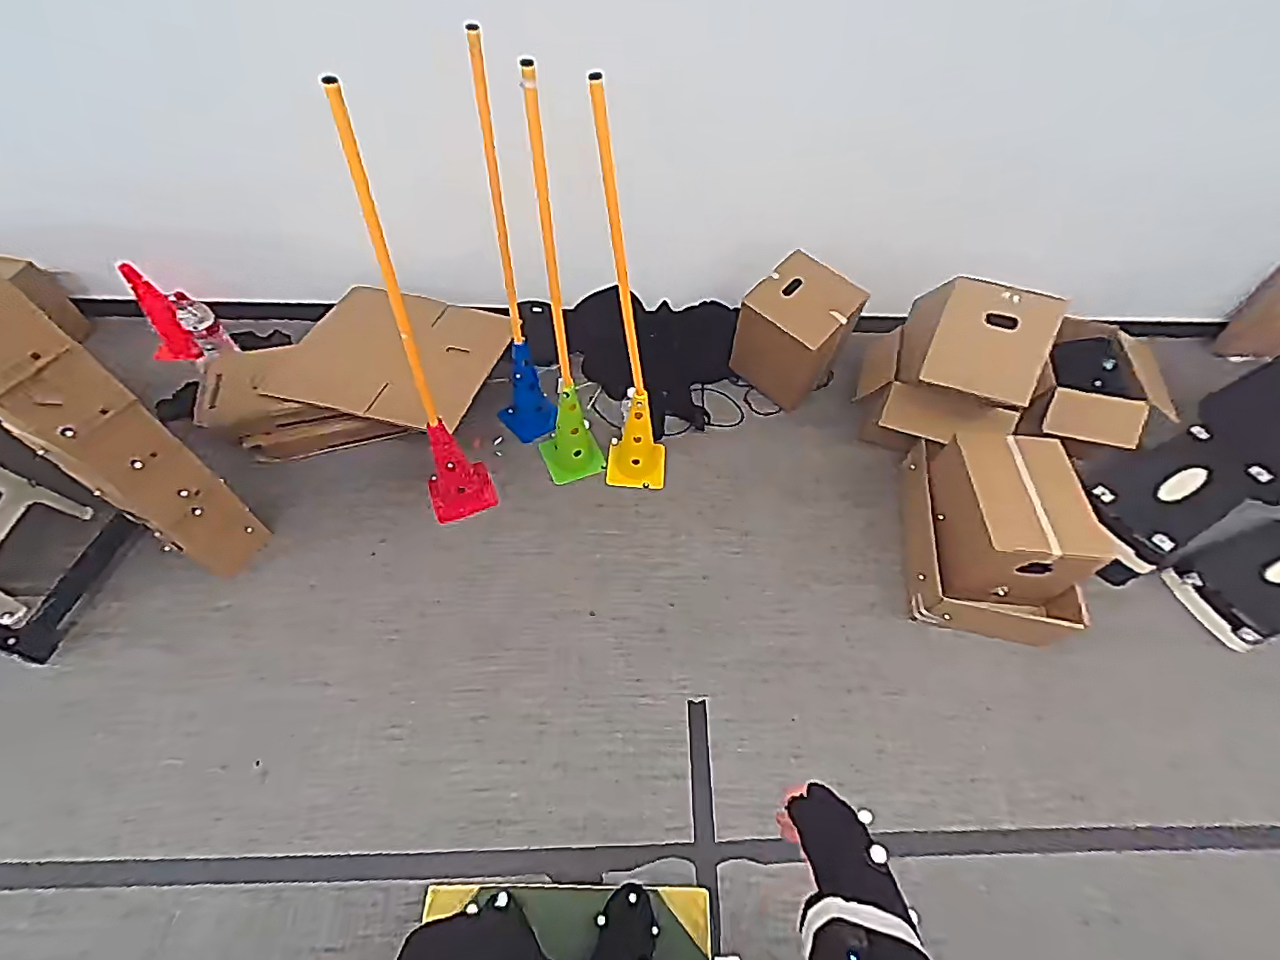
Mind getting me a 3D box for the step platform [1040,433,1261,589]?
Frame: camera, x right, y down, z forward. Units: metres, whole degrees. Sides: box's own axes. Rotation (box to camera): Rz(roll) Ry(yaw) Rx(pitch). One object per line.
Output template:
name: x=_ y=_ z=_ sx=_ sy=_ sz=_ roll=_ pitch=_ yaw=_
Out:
step platform: x=1.717 y=0.091 z=1.819 sx=0.684 sy=0.204 sz=0.286 roll=-23 pitch=59 yaw=-18
